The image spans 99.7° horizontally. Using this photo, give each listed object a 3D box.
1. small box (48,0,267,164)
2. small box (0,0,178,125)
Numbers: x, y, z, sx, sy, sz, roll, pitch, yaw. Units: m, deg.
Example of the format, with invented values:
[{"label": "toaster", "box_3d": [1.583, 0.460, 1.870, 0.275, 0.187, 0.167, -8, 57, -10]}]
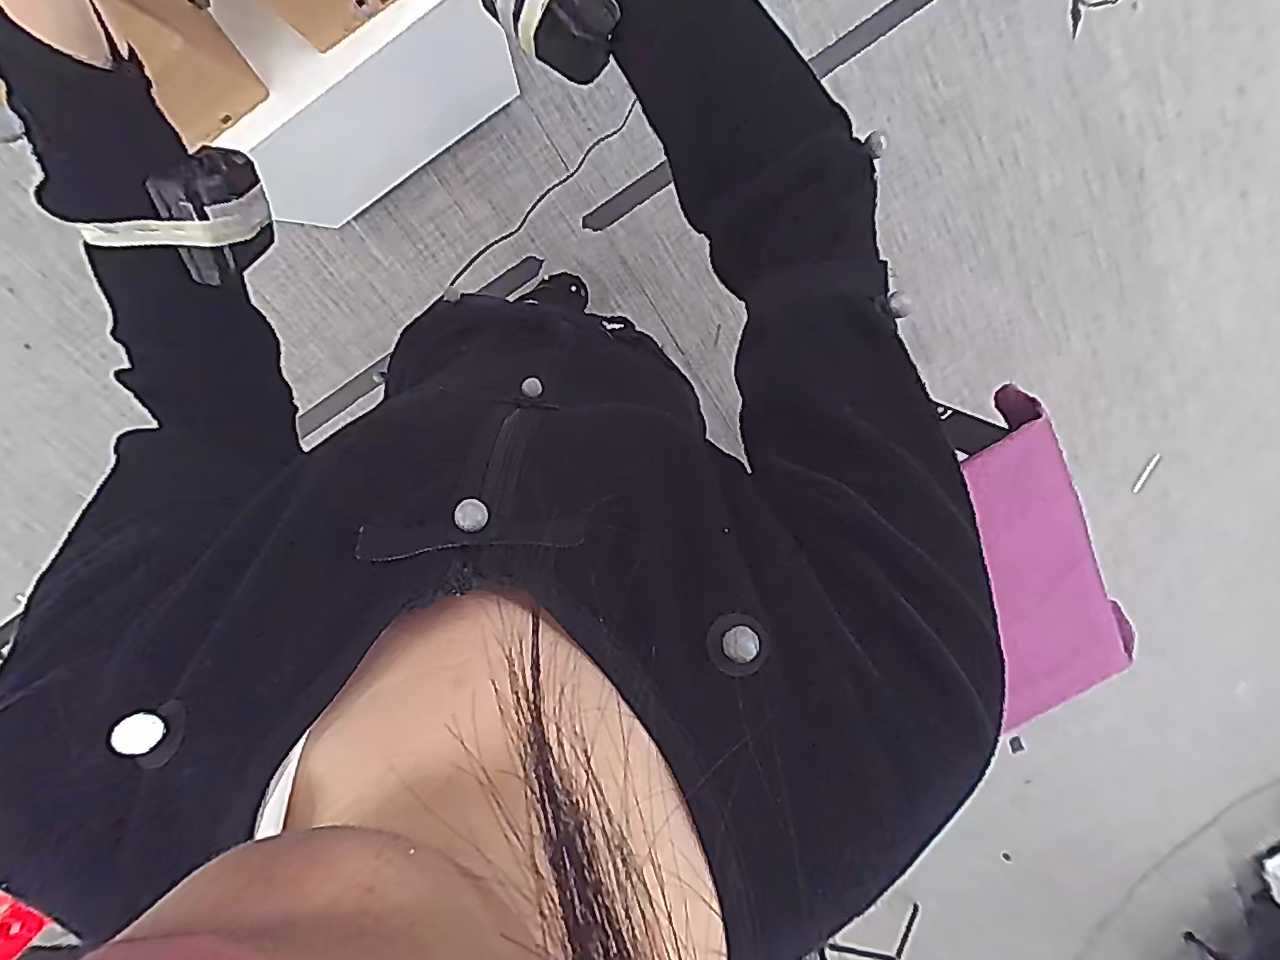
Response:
[{"label": "small box", "box_3d": [-0.558, -0.474, 0.572, 0.168, 0.176, 0.179, -32, 111, 6]}, {"label": "small box", "box_3d": [-0.535, -0.414, 0.423, 0.168, 0.176, 0.179, -34, 112, 6]}]
